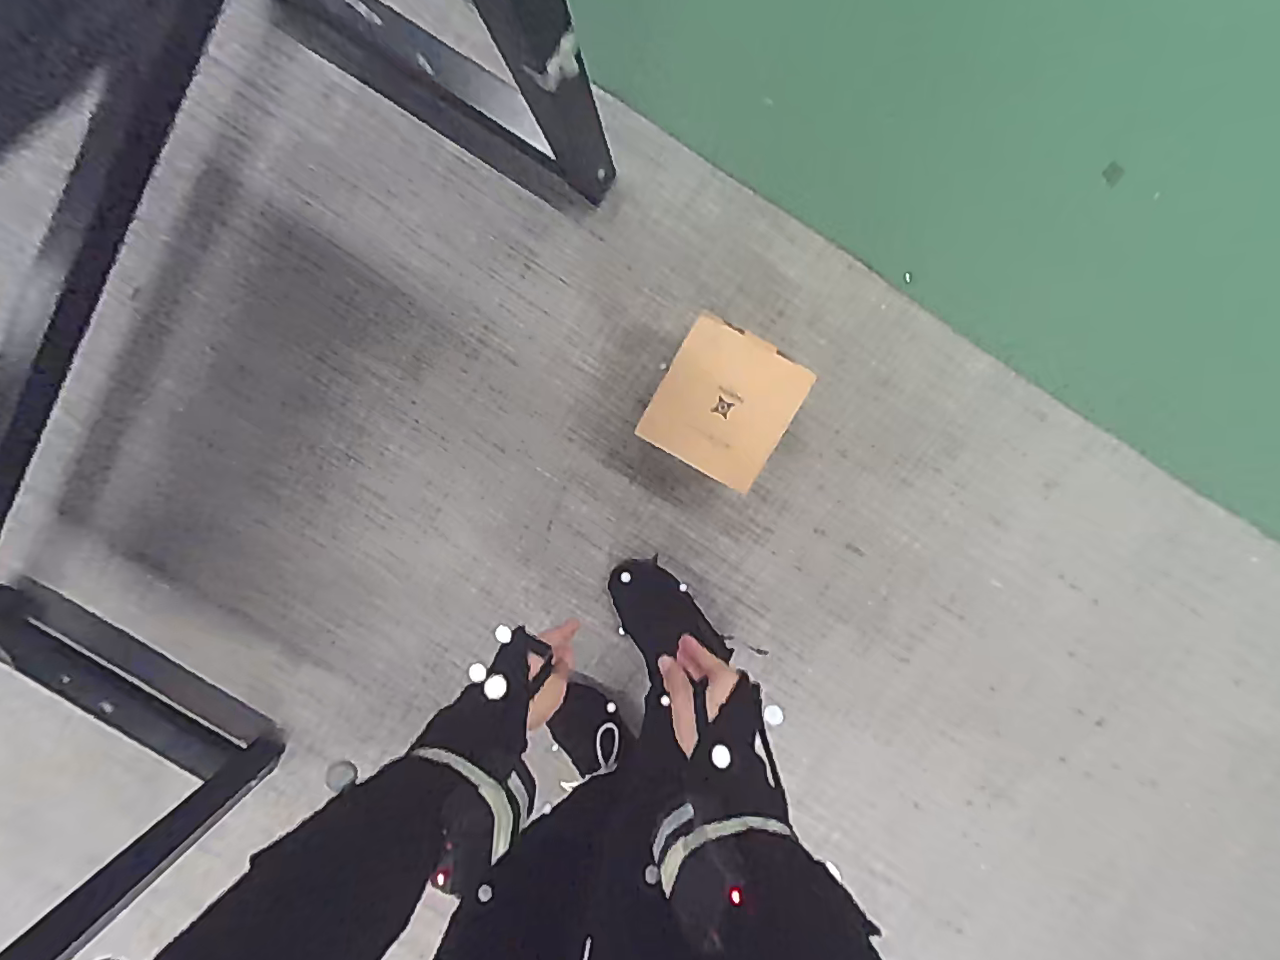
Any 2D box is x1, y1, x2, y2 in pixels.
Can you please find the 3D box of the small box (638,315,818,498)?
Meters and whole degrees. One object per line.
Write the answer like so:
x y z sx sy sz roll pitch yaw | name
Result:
0.112 -0.101 0.752 0.168 0.176 0.179 30 100 0 | small box
